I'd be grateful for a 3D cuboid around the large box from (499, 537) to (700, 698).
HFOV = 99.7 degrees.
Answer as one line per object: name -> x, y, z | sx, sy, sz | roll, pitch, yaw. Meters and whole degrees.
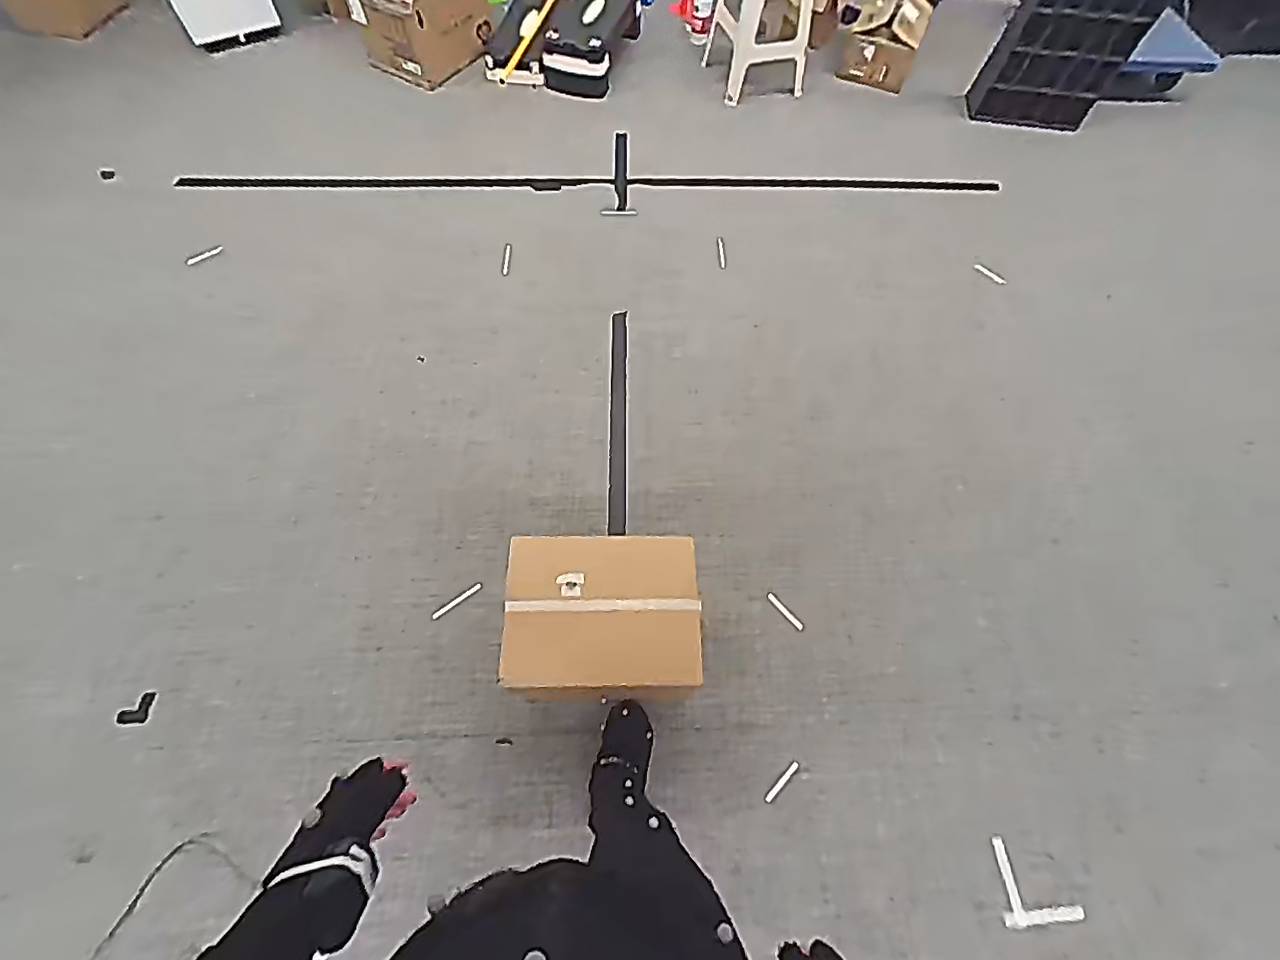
large box -> -0.083, 0.332, 1.264 | 0.408, 0.320, 0.320 | 0, 63, -1
